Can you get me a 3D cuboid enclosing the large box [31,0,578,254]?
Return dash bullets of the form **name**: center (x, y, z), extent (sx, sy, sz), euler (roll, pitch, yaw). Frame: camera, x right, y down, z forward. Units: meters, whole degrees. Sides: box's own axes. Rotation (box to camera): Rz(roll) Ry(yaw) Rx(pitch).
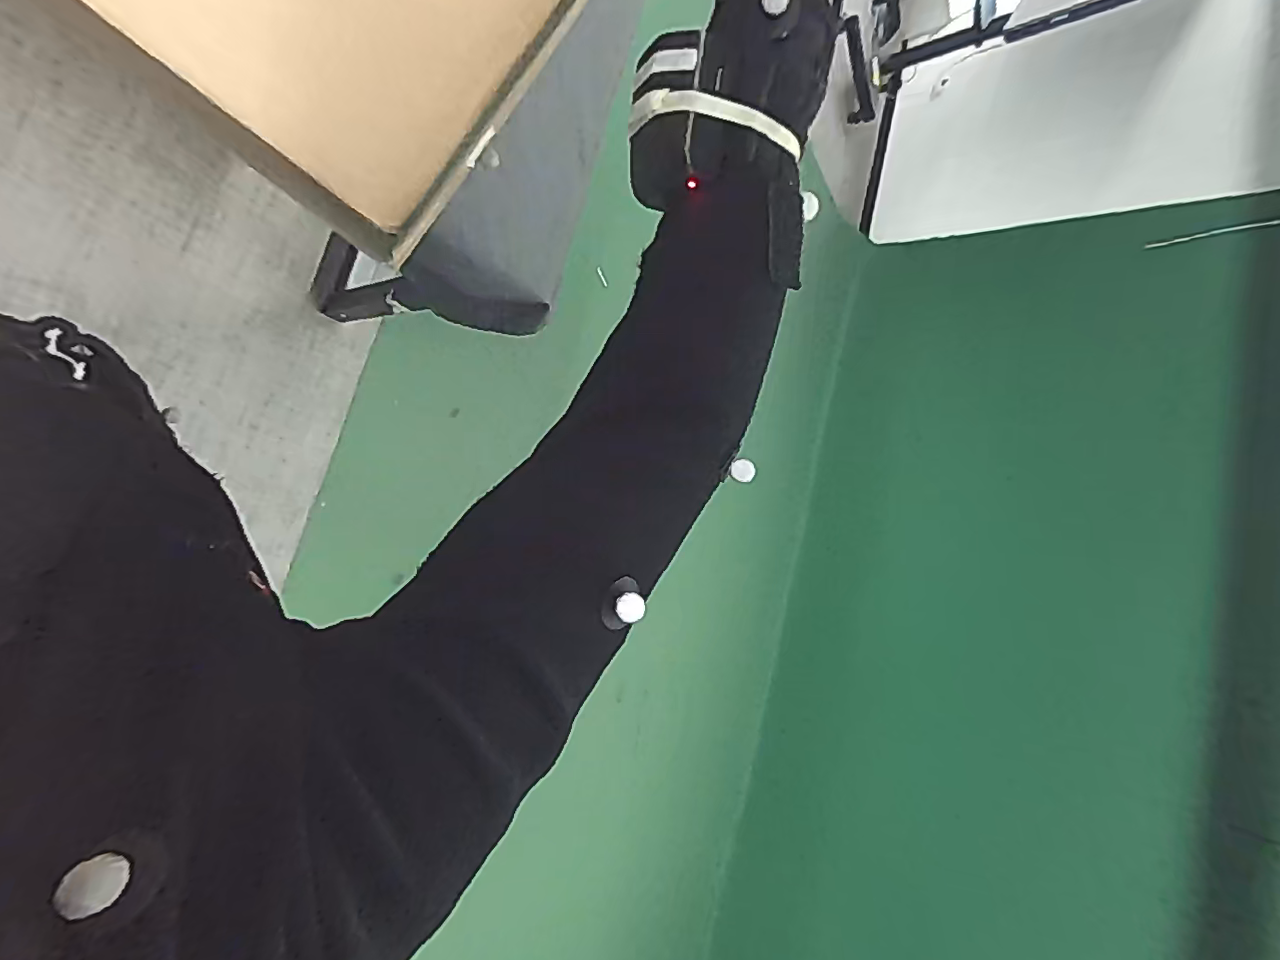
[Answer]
- **large box**: center (-0.226, -0.377, 0.277), extent (0.408, 0.320, 0.320), euler (33, 92, -30)
